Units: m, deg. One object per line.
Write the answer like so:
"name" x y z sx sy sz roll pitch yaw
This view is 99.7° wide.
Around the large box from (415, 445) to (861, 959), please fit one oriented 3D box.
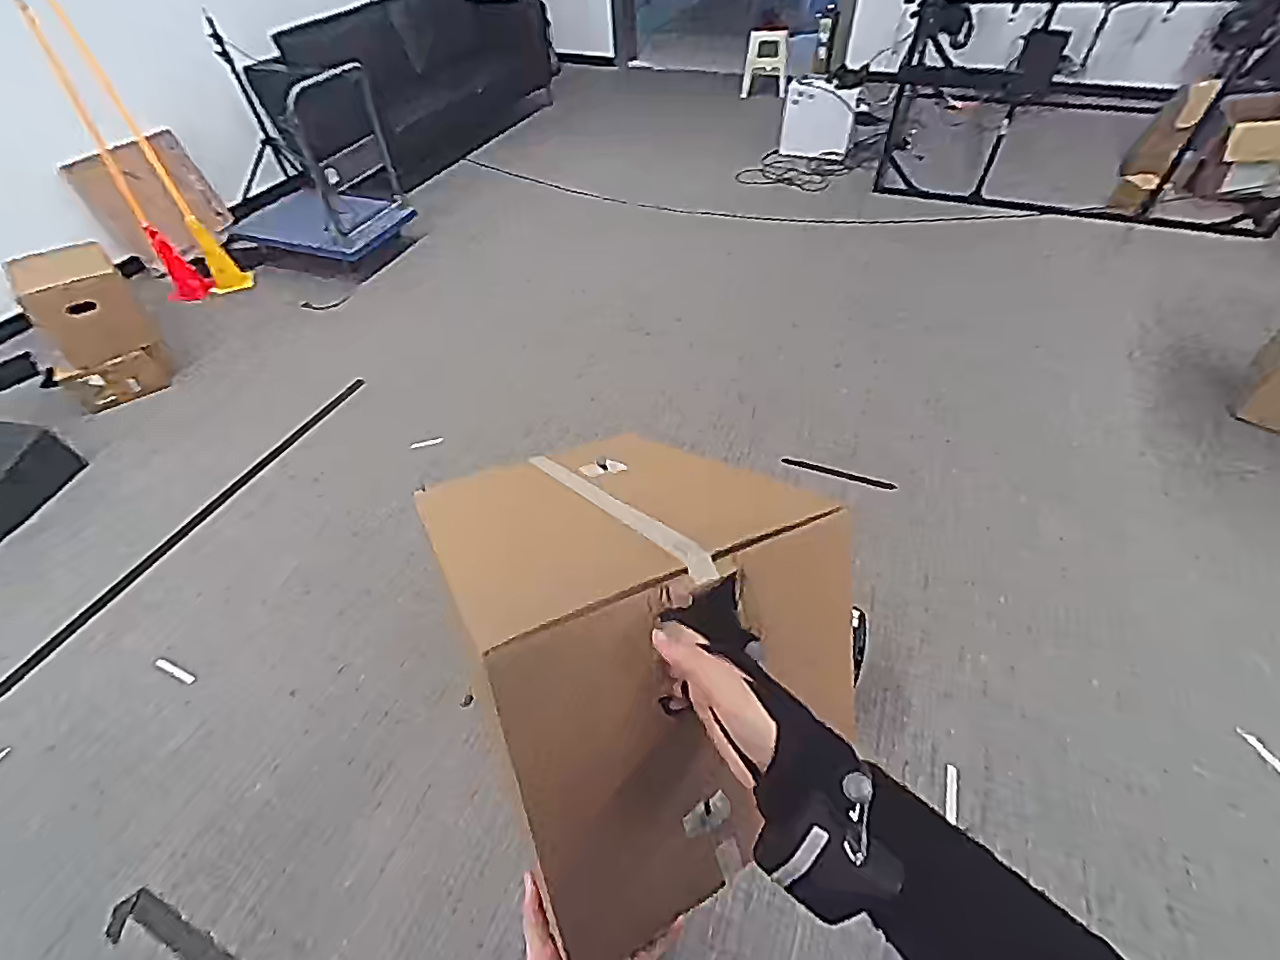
"large box" -0.027 0.169 0.596 0.320 0.320 0.408 -16 18 -24
